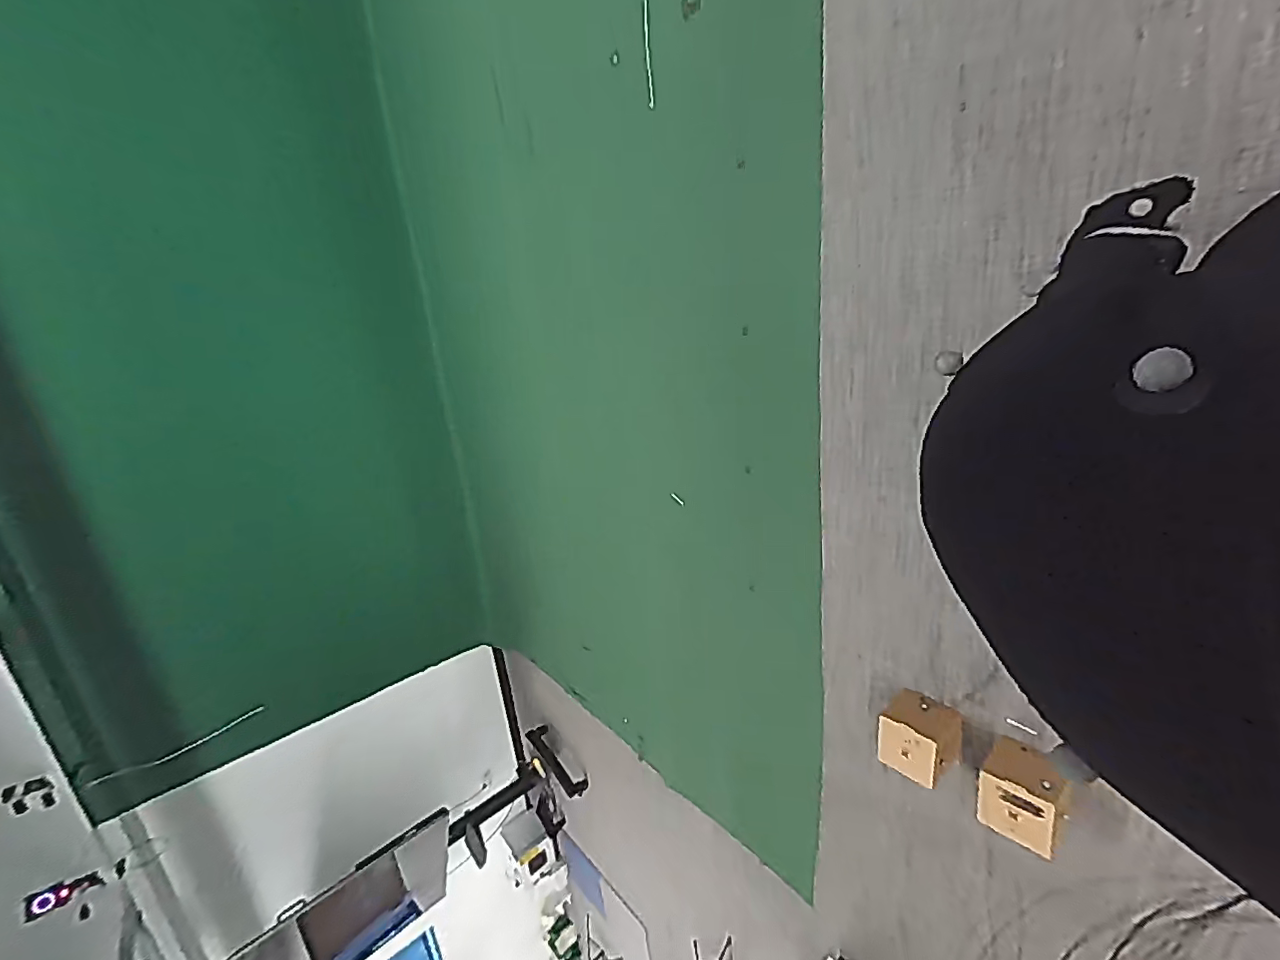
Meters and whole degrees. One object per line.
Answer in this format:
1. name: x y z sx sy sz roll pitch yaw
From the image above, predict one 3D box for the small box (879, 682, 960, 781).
1. small box: 0.850 0.758 1.645 0.168 0.176 0.179 16 117 48
